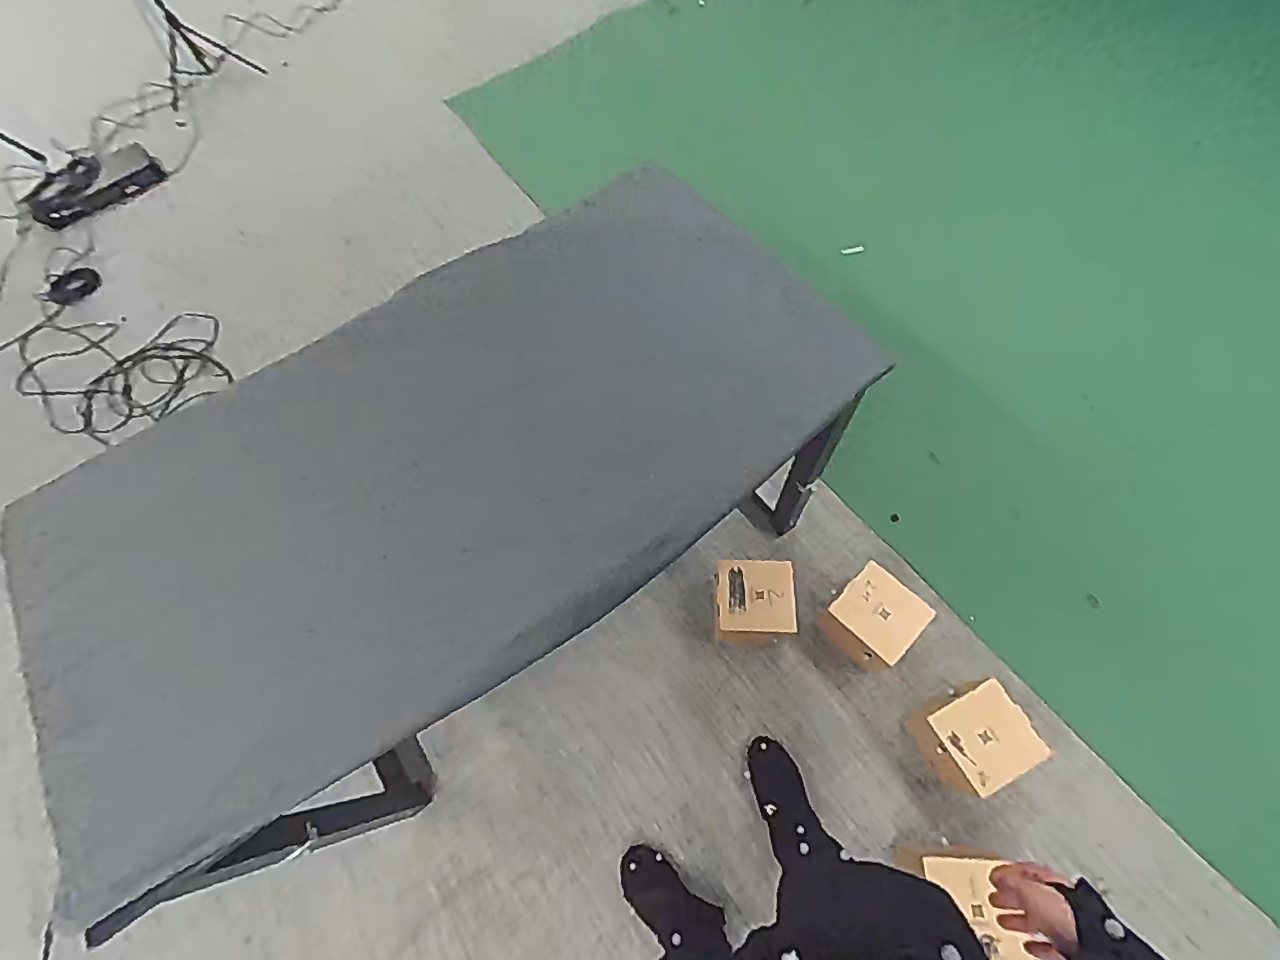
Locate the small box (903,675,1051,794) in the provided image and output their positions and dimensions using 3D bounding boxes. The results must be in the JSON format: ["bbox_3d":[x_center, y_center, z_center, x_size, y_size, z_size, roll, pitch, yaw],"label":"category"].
[{"bbox_3d":[0.706,0.536,1.157,0.179,0.176,0.168,-27,67,-6],"label":"small box"}]

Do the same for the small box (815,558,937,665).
[{"bbox_3d":[0.543,0.315,1.269,0.168,0.176,0.179,-43,69,-13],"label":"small box"}]

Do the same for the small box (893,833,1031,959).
[{"bbox_3d":[0.612,0.809,1.048,0.168,0.176,0.179,0,66,5],"label":"small box"}]
